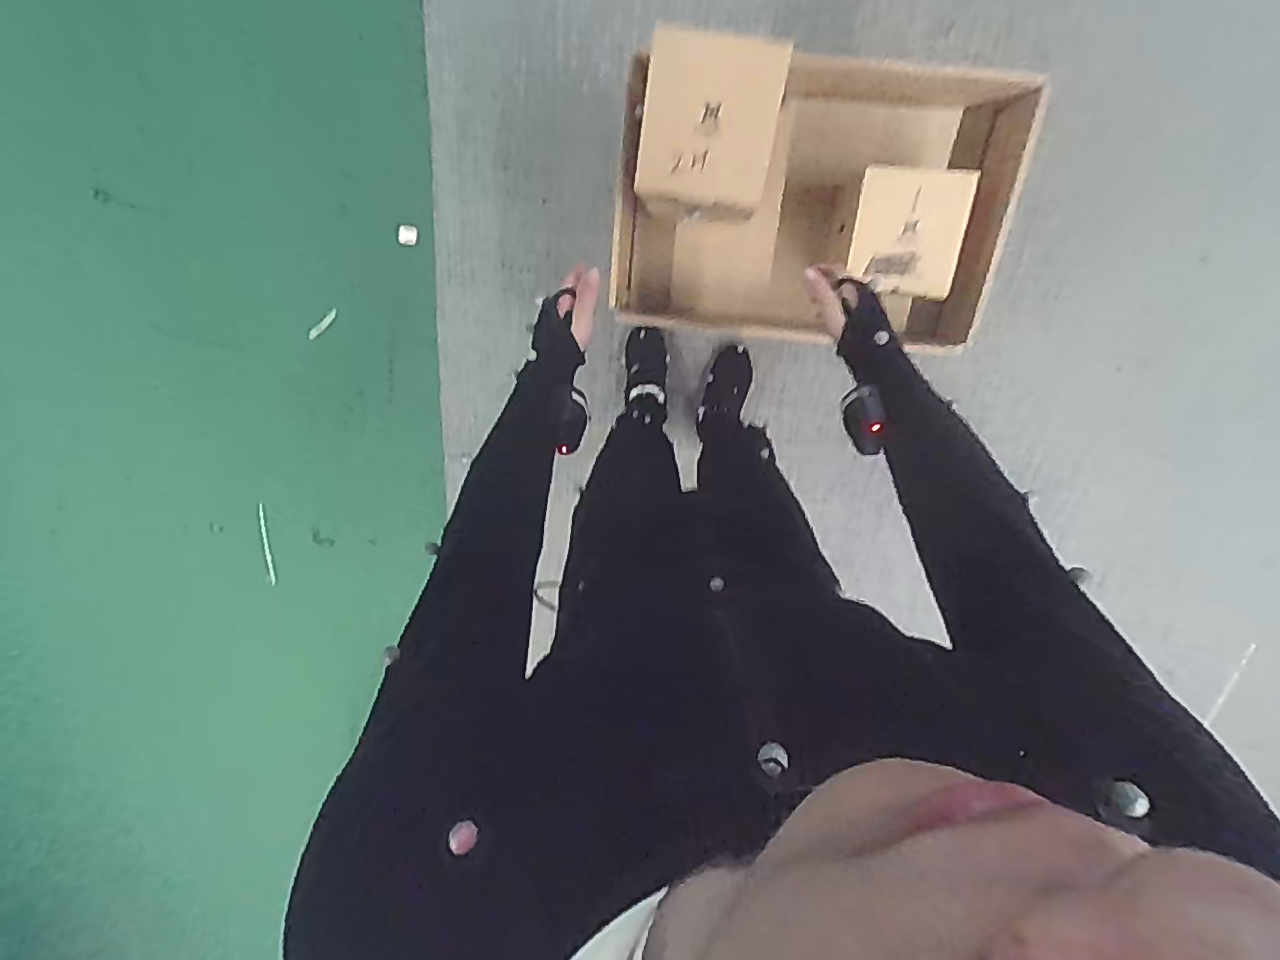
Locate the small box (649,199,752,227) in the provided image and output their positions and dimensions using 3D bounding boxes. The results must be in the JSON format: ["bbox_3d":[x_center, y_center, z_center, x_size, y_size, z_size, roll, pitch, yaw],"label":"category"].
[{"bbox_3d":[0.109,-0.526,0.887,0.168,0.176,0.179,8,111,2],"label":"small box"}]

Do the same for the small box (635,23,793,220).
[{"bbox_3d":[0.093,-0.469,0.735,0.168,0.176,0.179,10,111,2],"label":"small box"}]
